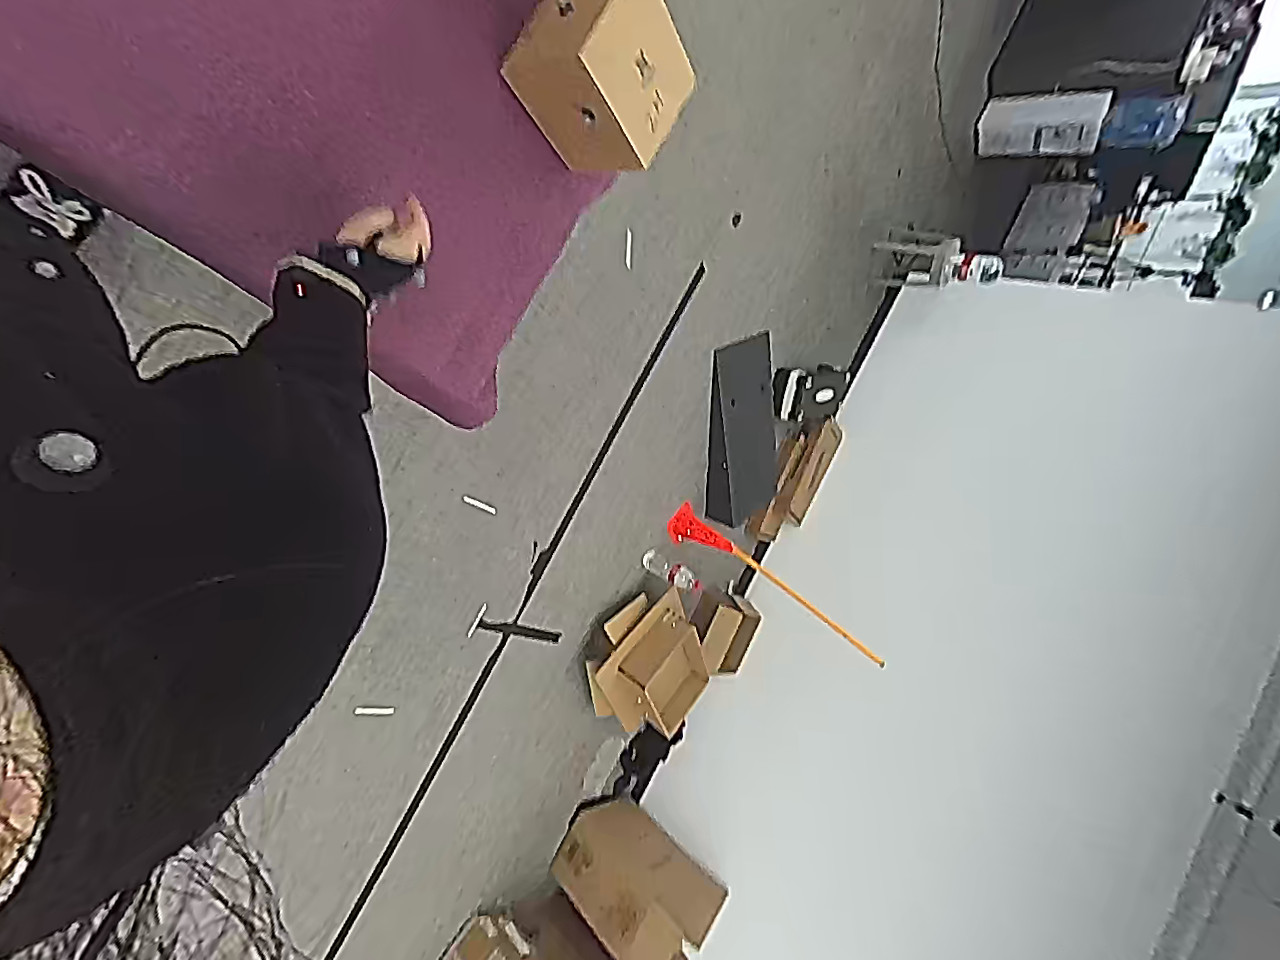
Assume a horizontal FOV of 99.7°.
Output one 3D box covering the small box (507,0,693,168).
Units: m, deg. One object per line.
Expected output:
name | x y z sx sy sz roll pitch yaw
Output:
small box | -0.058 -0.581 0.783 0.168 0.176 0.179 -61 144 -6
